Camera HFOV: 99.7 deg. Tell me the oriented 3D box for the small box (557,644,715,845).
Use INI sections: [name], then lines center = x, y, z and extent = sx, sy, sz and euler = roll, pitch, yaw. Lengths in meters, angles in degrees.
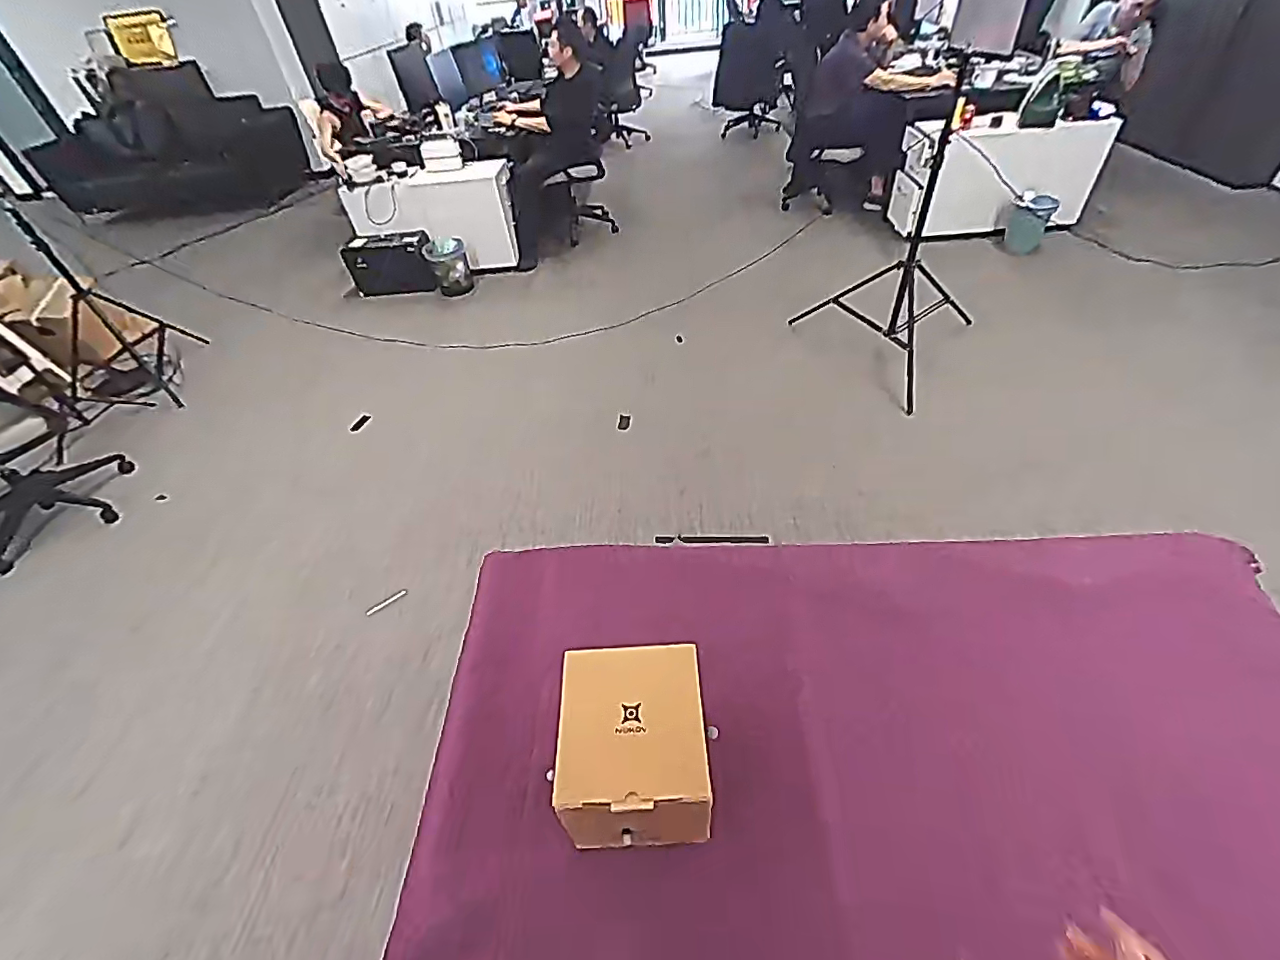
[small box]
center = -0.003, 0.326, 0.668
extent = 0.168, 0.176, 0.179
euler = -4, 45, 1
